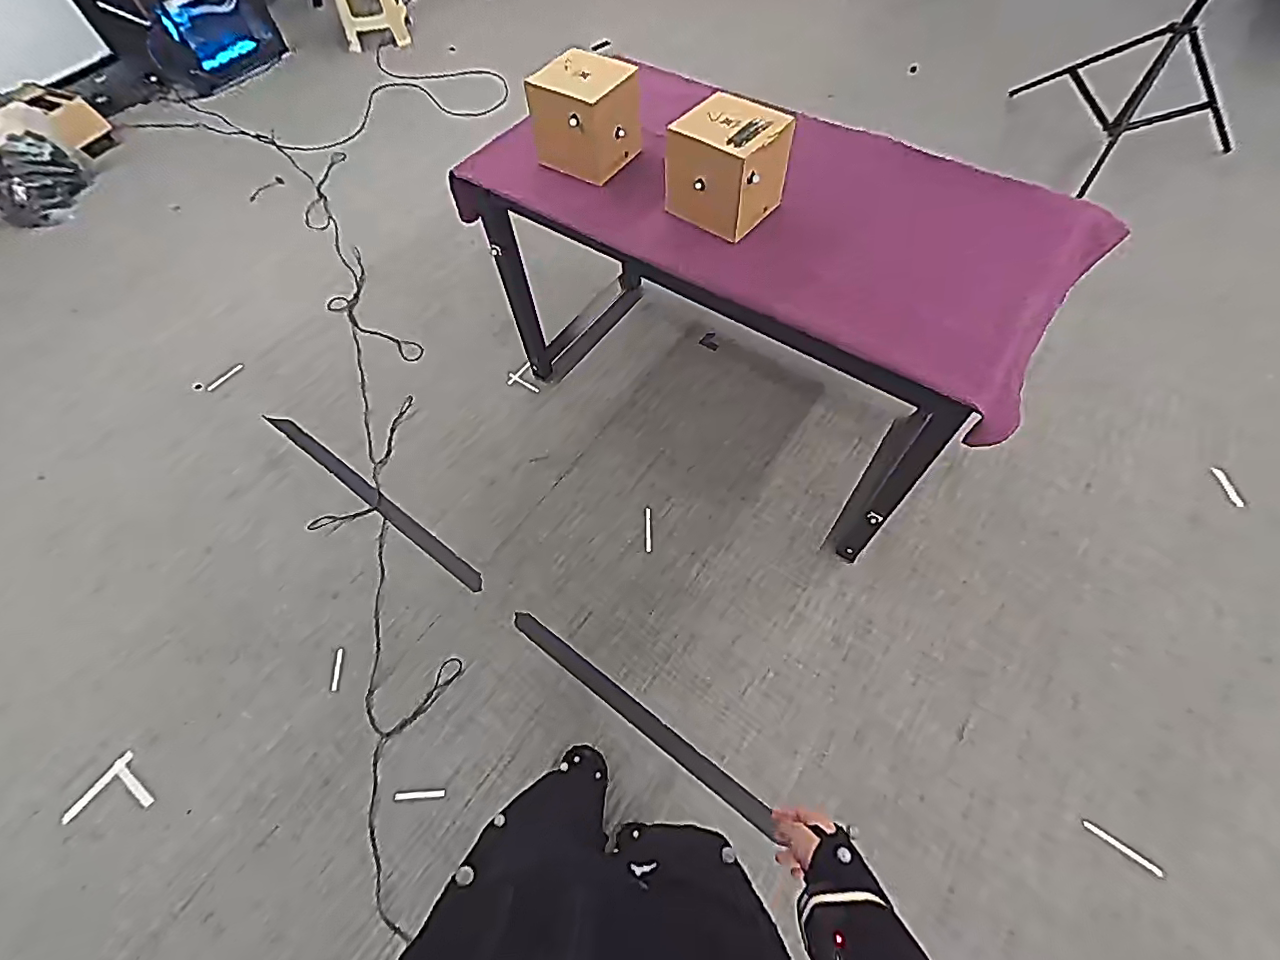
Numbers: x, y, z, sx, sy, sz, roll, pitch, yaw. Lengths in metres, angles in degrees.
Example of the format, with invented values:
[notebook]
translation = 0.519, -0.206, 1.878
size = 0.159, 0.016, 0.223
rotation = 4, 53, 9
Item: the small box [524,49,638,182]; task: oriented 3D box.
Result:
[small box]
translation = -0.115, -0.772, 1.156
size = 0.179, 0.176, 0.168
rotation = 29, 64, 18
